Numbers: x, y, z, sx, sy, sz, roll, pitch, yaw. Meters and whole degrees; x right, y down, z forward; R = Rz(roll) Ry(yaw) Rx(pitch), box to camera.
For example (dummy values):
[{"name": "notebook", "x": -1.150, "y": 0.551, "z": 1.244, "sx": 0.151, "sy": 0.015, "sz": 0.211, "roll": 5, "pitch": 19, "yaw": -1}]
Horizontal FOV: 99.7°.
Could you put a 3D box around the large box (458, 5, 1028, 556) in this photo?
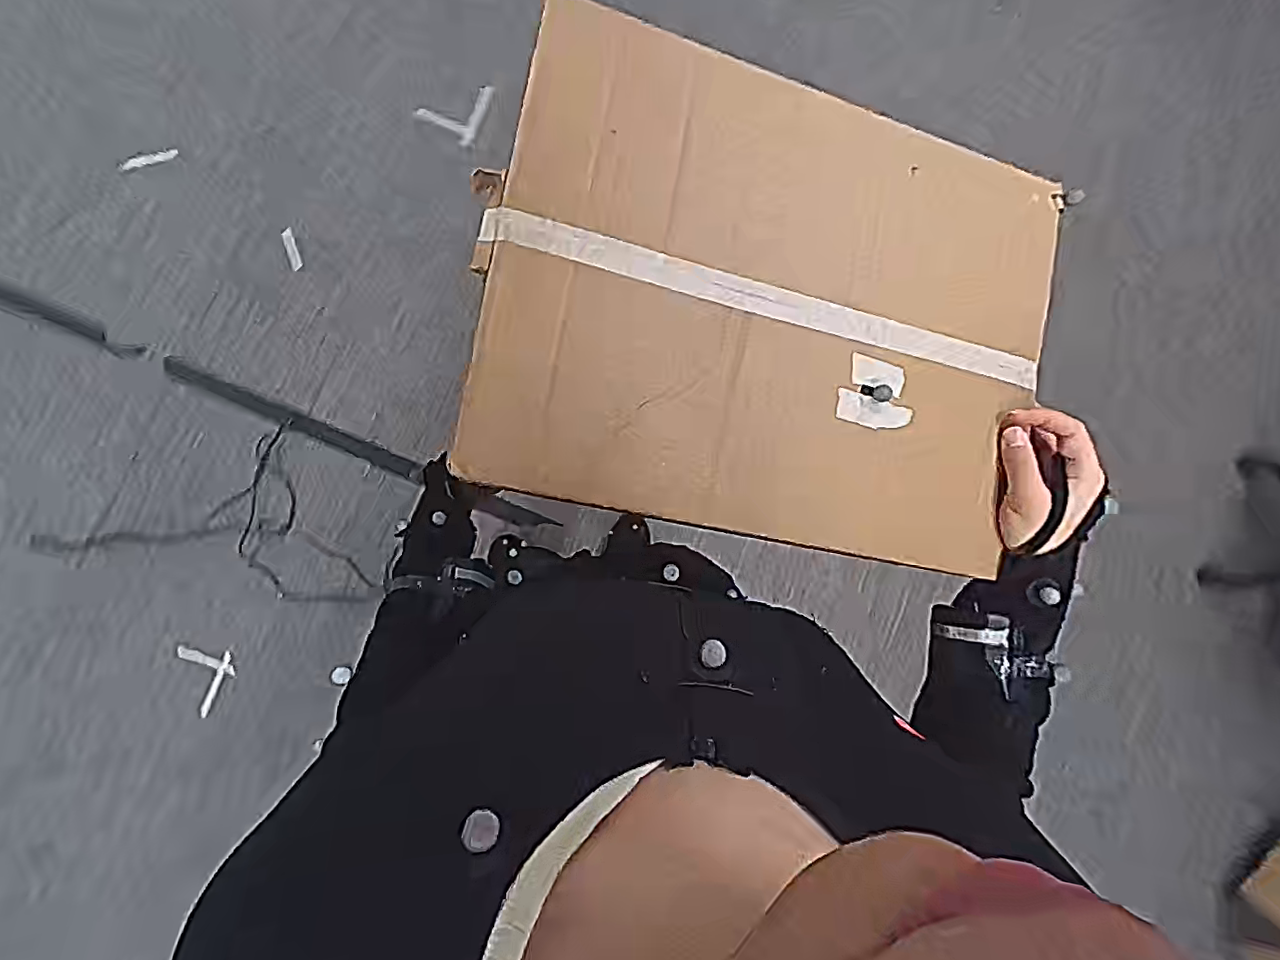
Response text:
[{"name": "large box", "x": 0.063, "y": -0.119, "z": 0.523, "sx": 0.408, "sy": 0.320, "sz": 0.320, "roll": 10, "pitch": 88, "yaw": -14}]
